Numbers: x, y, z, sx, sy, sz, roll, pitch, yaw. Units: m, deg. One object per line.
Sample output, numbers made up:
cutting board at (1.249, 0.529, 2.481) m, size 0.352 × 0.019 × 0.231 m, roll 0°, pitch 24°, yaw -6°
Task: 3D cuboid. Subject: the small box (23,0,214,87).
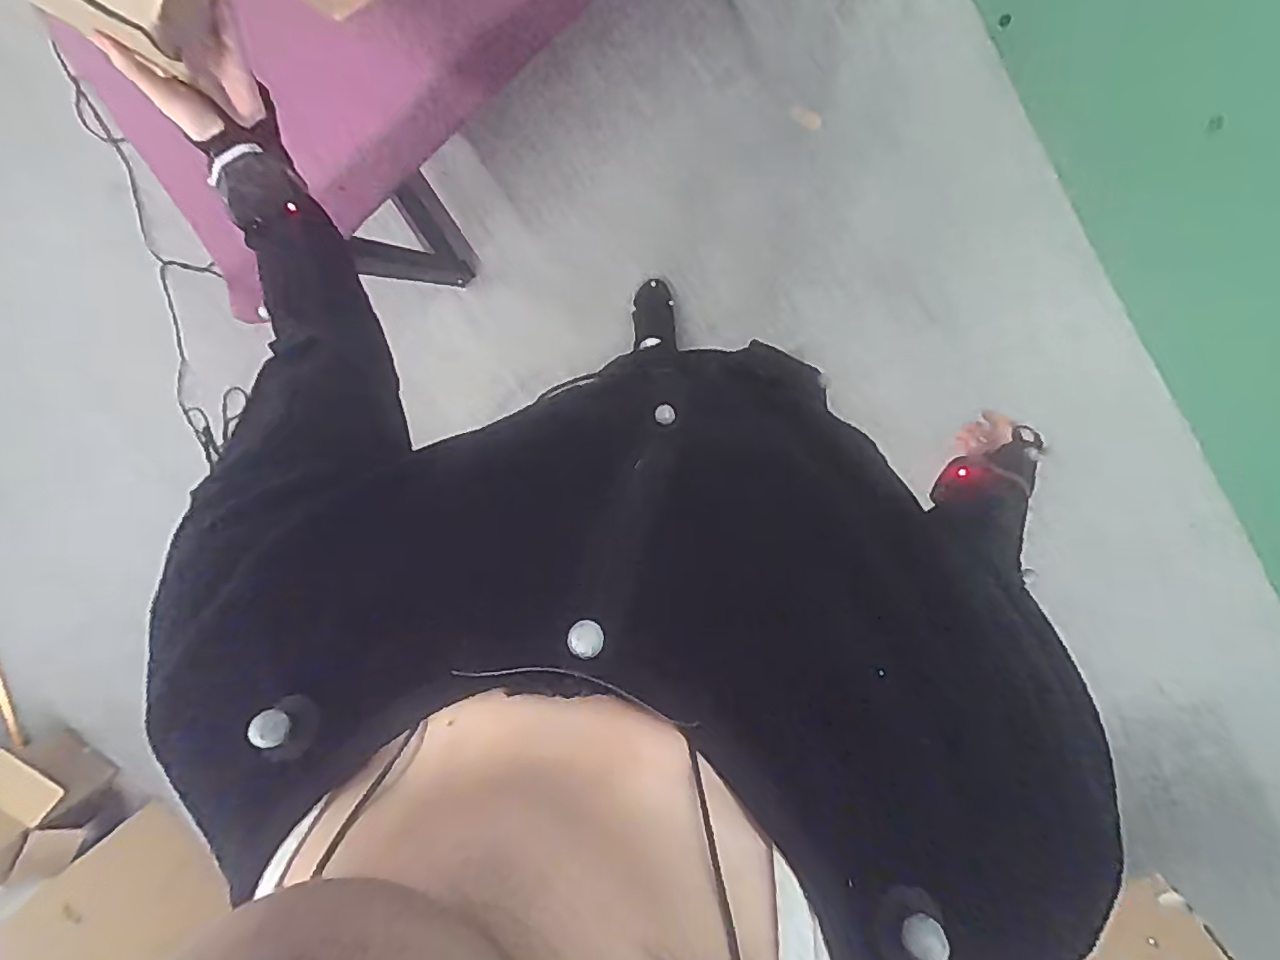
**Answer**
small box at (-0.360, -0.387, 0.320) m, size 0.179 × 0.168 × 0.176 m, roll 19°, pitch 101°, yaw -37°
